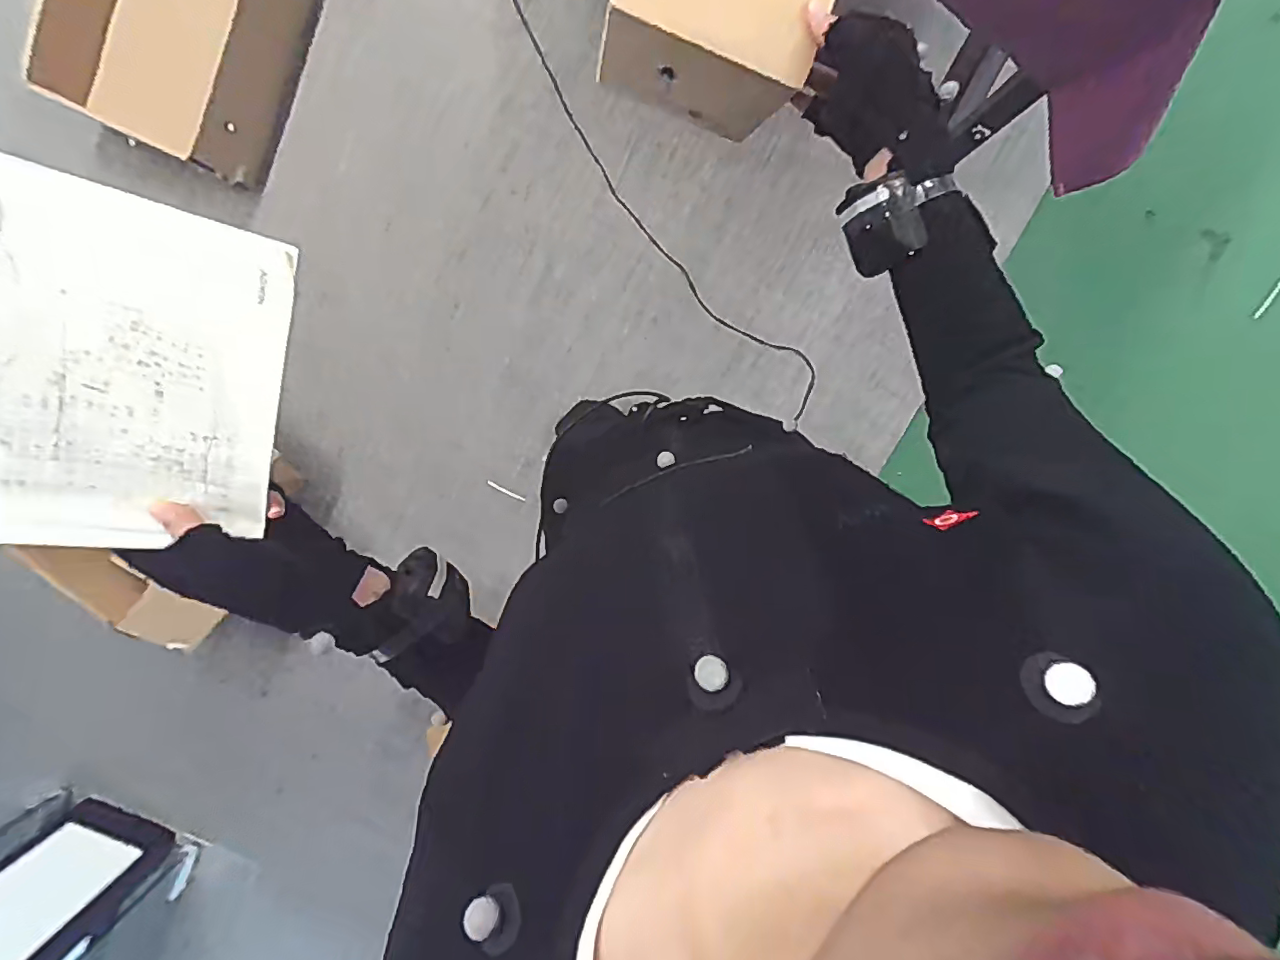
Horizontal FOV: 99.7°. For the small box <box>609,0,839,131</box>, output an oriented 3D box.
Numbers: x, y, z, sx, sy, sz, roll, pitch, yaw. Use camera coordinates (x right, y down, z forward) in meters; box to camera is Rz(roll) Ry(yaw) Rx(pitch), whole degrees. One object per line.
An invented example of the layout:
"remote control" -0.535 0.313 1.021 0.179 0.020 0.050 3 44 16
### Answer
"small box" 0.075 -0.440 0.466 0.168 0.176 0.179 15 105 -13
